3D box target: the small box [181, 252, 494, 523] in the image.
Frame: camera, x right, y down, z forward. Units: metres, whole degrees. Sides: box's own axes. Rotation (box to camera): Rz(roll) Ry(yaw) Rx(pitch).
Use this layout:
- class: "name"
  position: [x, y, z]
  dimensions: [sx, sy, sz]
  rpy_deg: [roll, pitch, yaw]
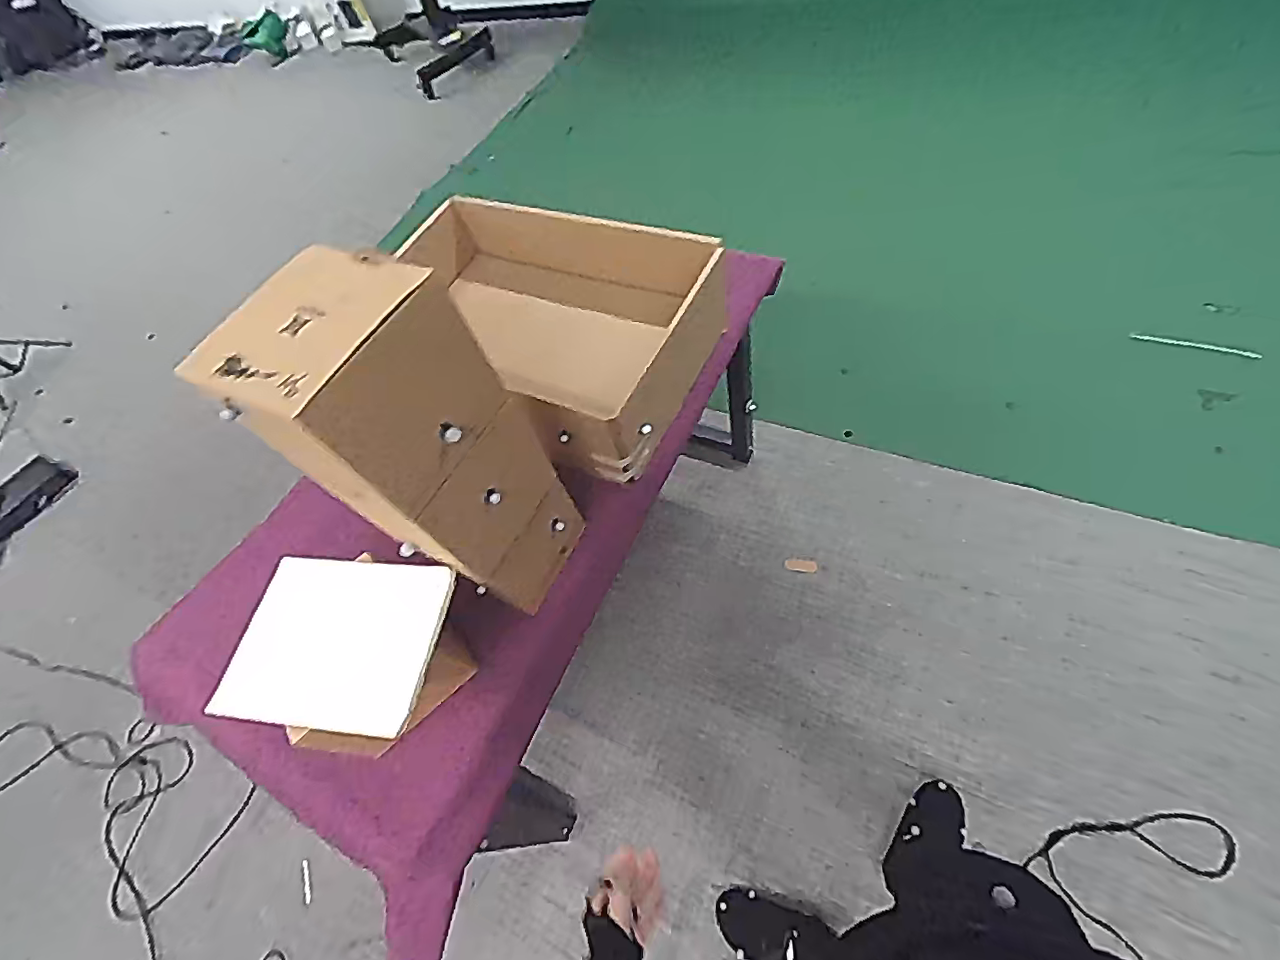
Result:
- class: "small box"
  position: [-0.269, -0.089, 0.530]
  dimensions: [0.168, 0.176, 0.179]
  rpy_deg: [18, 63, 24]

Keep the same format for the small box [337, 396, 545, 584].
- class: "small box"
  position: [-0.238, -0.002, 0.666]
  dimensions: [0.168, 0.176, 0.179]
  rpy_deg: [19, 64, 24]
